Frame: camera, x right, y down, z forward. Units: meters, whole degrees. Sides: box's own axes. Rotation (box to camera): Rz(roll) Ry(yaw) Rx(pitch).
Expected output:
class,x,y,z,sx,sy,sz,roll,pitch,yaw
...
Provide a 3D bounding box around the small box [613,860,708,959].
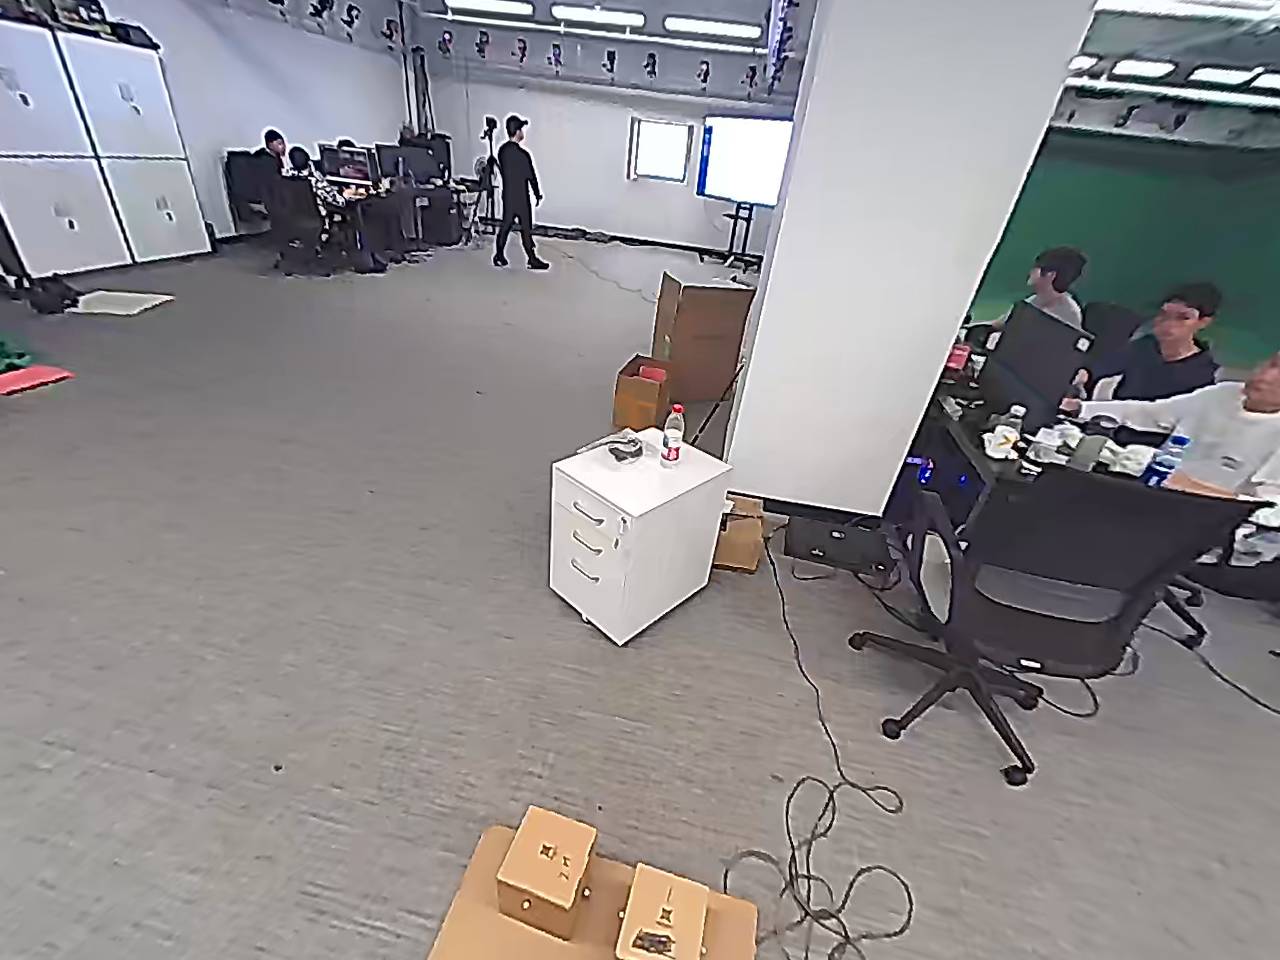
class,x,y,z,sx,sy,sz,roll,pitch,yaw
small box,0.044,0.984,1.174,0.168,0.176,0.179,11,31,11

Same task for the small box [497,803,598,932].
class,x,y,z,sx,sy,sz,roll,pitch,yaw
small box,-0.211,0.901,1.256,0.179,0.176,0.168,14,32,12
